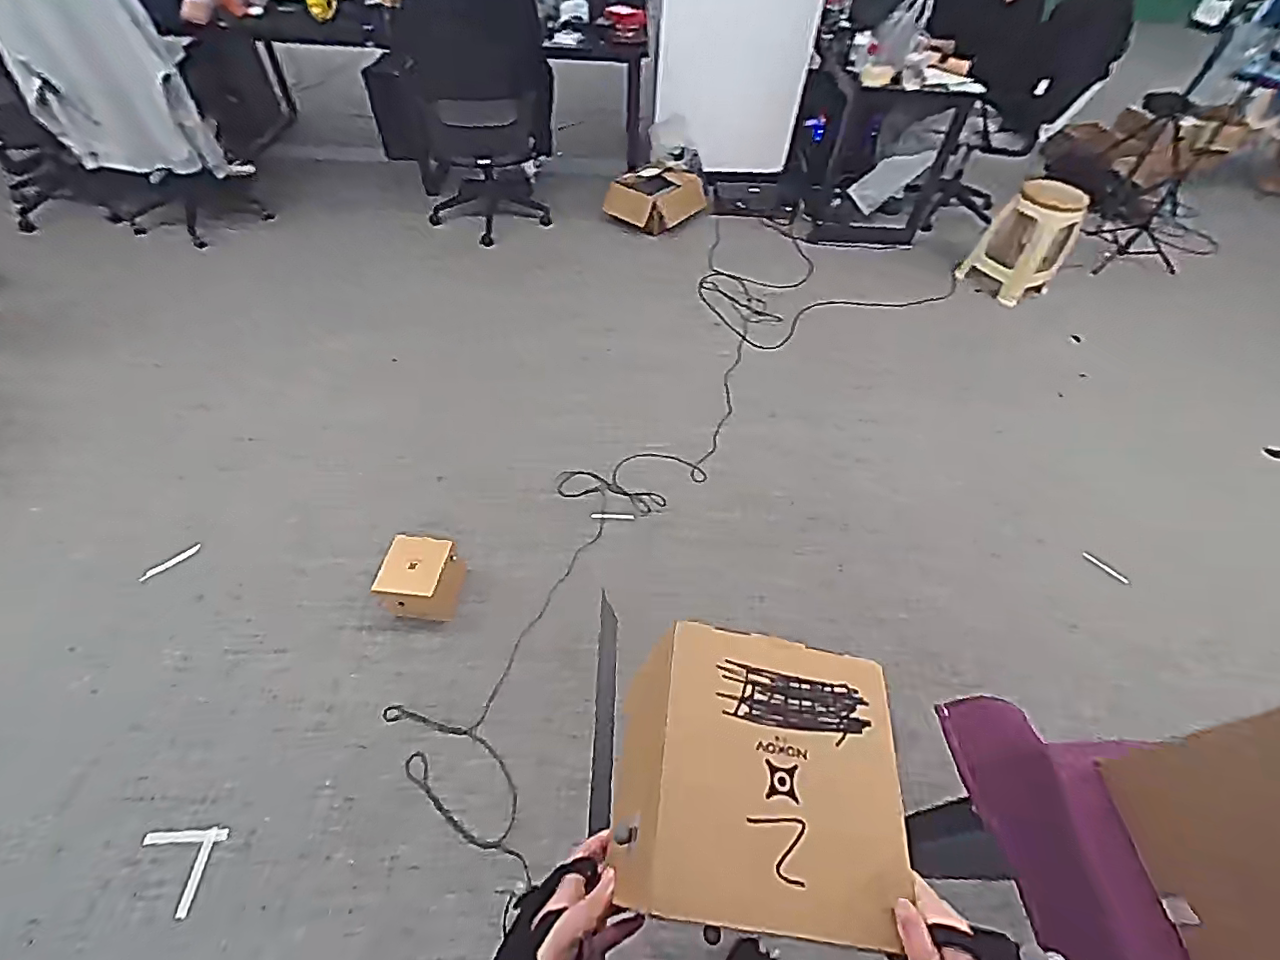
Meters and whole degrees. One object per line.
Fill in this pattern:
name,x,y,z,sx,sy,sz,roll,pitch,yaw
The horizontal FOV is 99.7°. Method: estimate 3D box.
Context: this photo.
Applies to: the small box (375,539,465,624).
small box,-0.610,0.290,1.529,0.168,0.176,0.179,6,51,3
